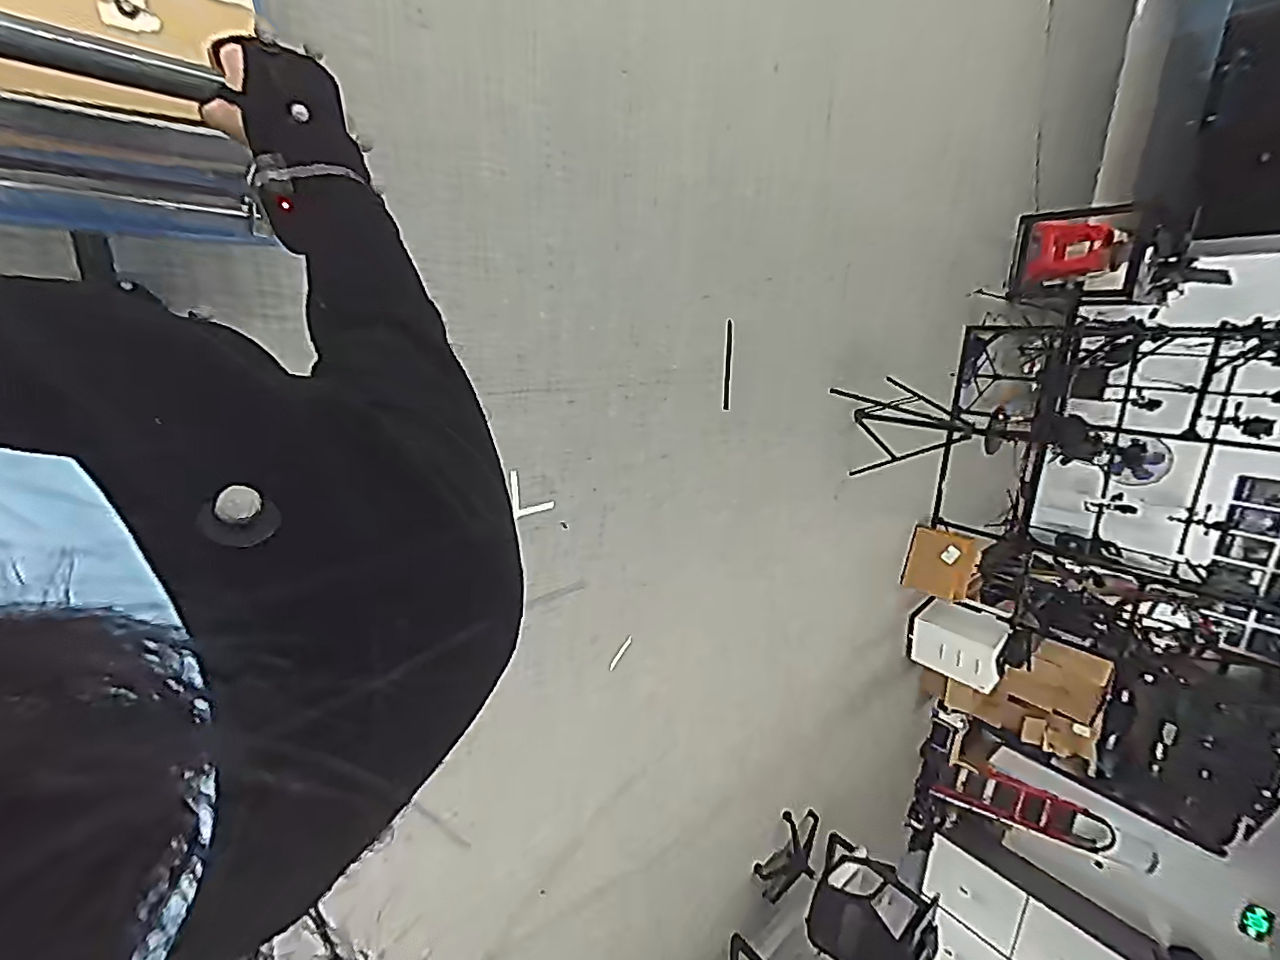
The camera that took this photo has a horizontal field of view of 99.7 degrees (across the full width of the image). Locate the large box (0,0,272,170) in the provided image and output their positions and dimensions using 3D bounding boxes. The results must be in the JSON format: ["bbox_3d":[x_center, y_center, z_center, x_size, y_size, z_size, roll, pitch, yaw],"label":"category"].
[{"bbox_3d":[-0.790,-0.640,0.726,0.408,0.320,0.320,-17,114,-39],"label":"large box"}]
